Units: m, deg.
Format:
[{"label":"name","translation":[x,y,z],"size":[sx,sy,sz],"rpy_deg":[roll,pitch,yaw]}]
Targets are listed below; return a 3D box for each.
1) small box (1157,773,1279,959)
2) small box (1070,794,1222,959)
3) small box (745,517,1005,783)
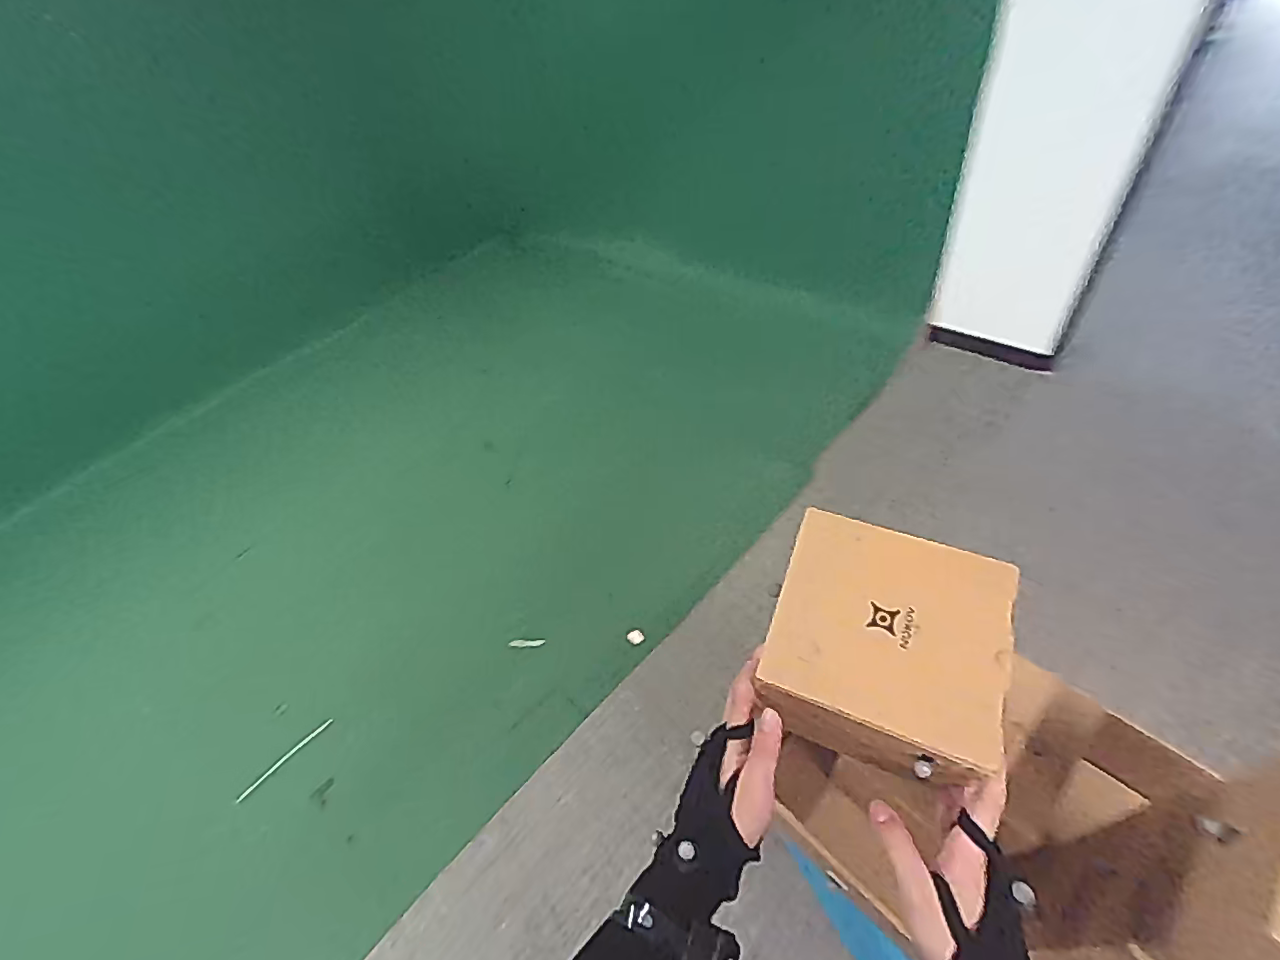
[{"label":"small box","translation":[0.506,0.318,0.355],"size":[0.168,0.176,0.179],"rpy_deg":[-40,51,-20]},{"label":"small box","translation":[0.530,0.428,0.477],"size":[0.168,0.176,0.179],"rpy_deg":[-41,50,-20]},{"label":"small box","translation":[0.202,0.162,0.501],"size":[0.179,0.176,0.168],"rpy_deg":[16,62,18]}]
